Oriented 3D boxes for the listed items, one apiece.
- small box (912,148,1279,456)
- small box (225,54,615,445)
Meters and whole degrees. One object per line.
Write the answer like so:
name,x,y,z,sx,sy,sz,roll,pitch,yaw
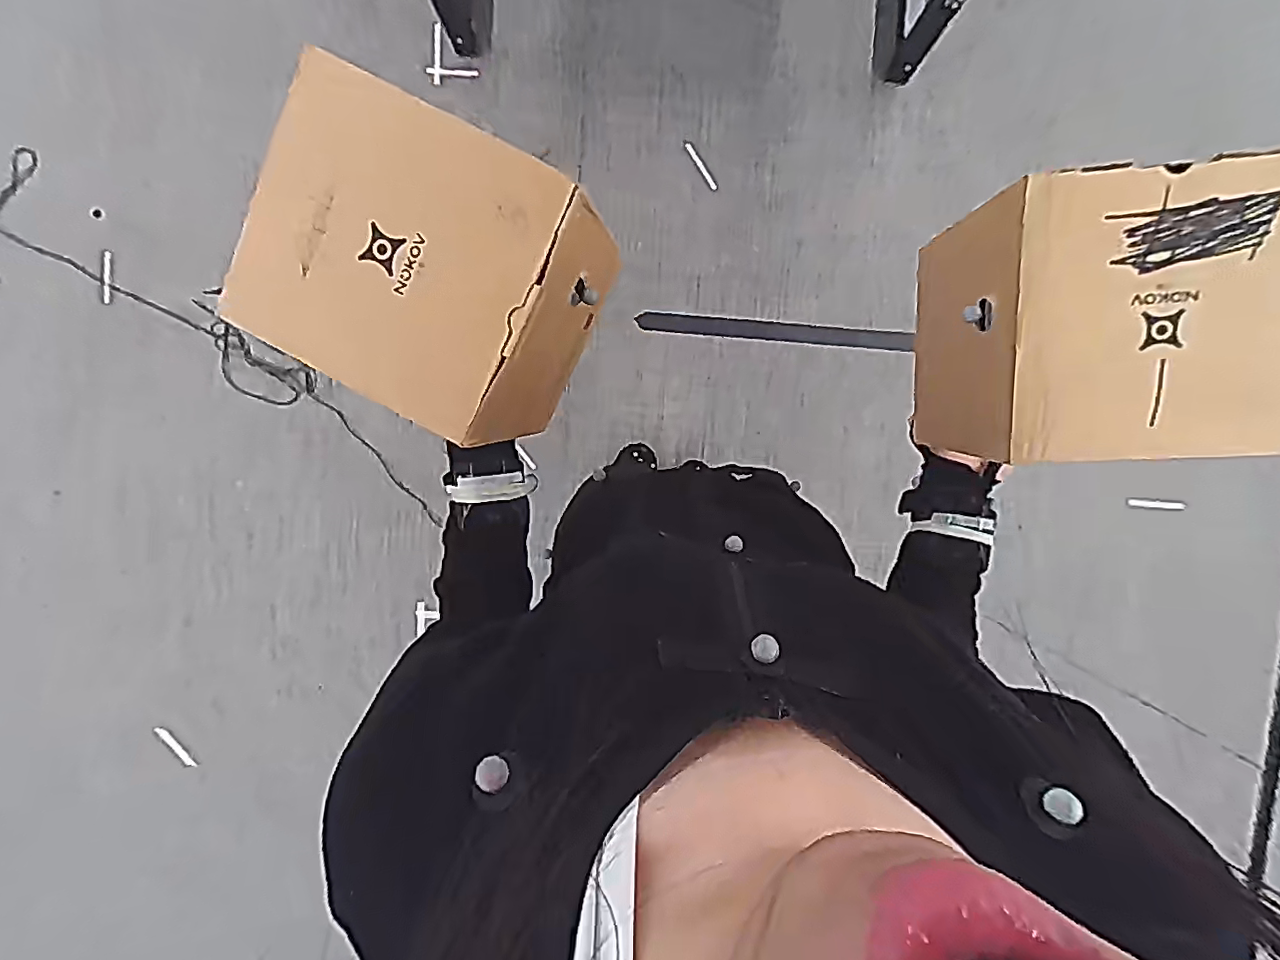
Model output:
small box,0.320,-0.114,0.406,0.168,0.176,0.179,-2,99,7
small box,-0.134,-0.142,0.393,0.179,0.176,0.168,27,99,3
